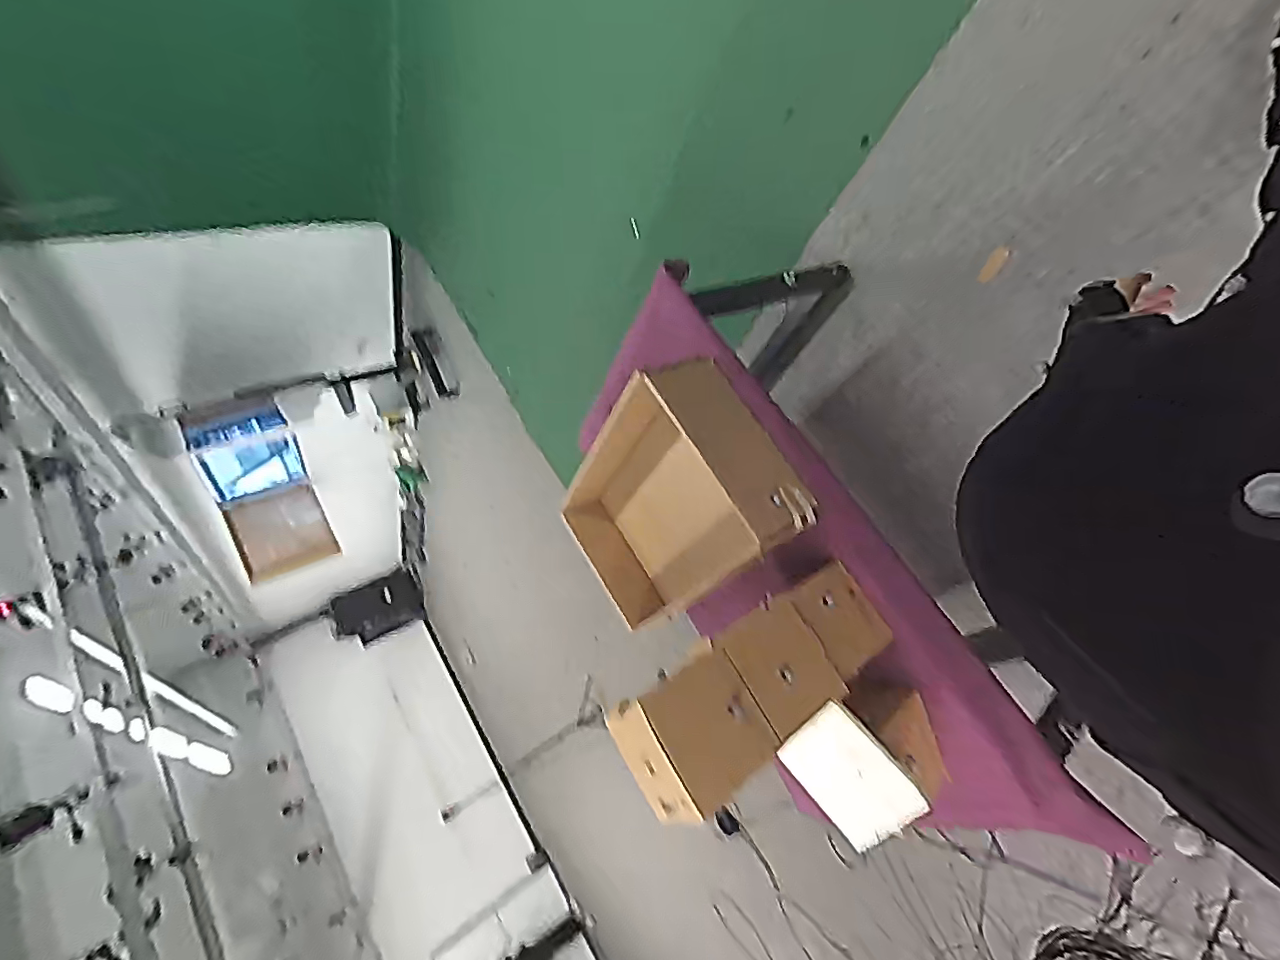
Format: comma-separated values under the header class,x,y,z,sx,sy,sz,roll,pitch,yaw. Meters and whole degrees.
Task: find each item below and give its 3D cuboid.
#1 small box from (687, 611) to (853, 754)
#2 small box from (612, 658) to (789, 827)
class,x,y,z,sx,sy,sz,roll,pitch,yaw
small box,0.217,0.342,0.919,0.179,0.176,0.168,57,147,15
small box,0.088,0.394,0.831,0.179,0.176,0.168,58,147,16
